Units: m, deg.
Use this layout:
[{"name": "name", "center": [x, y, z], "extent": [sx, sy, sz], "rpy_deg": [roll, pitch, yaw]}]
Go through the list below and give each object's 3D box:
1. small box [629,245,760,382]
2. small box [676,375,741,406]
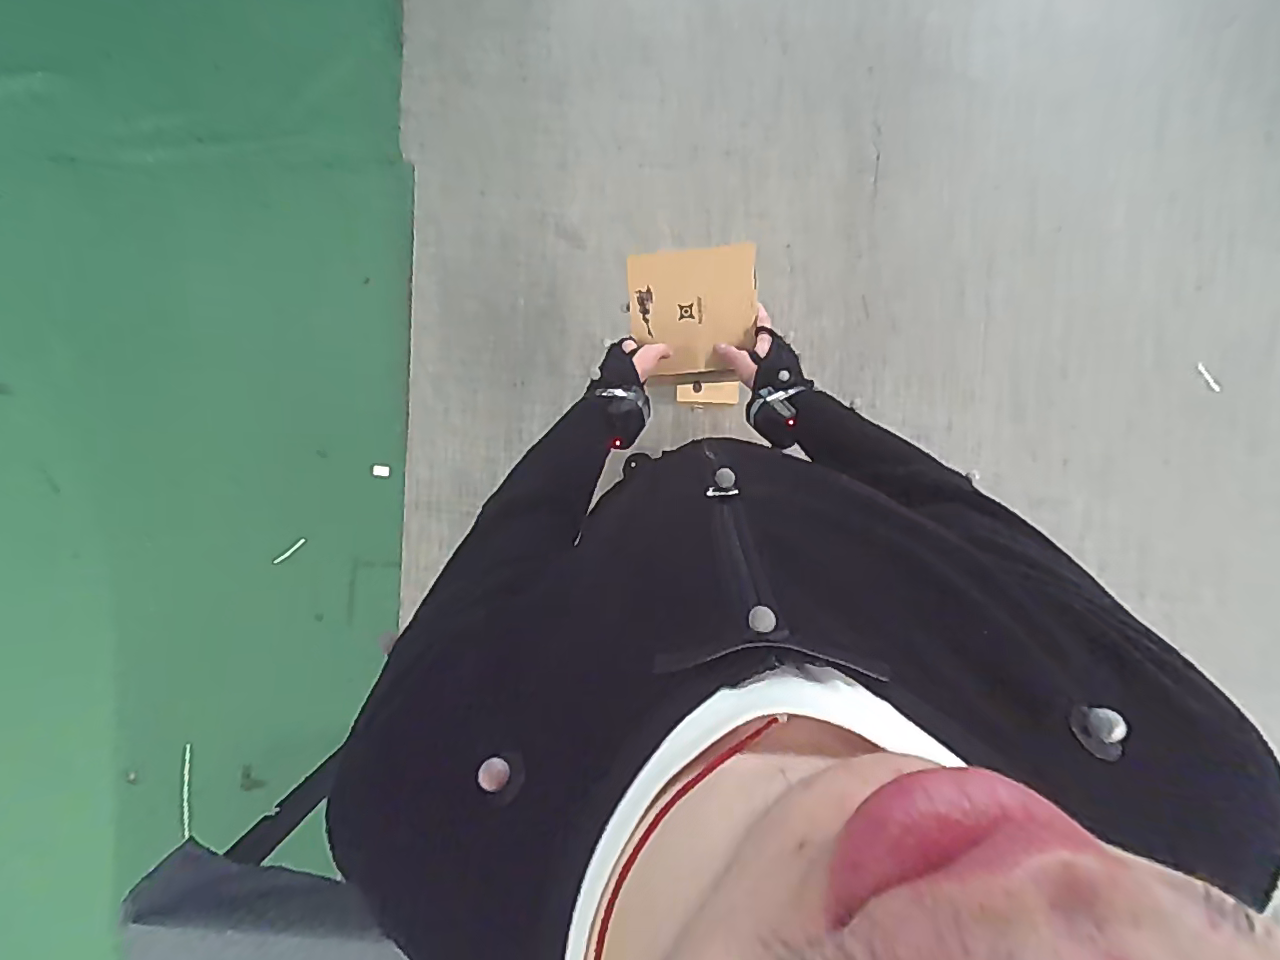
[{"name": "small box", "center": [0.081, -0.240, 0.818], "extent": [0.179, 0.176, 0.168], "rpy_deg": [-3, 95, 6]}, {"name": "small box", "center": [0.186, -0.304, 1.468], "extent": [0.168, 0.176, 0.179], "rpy_deg": [5, 93, 4]}]
